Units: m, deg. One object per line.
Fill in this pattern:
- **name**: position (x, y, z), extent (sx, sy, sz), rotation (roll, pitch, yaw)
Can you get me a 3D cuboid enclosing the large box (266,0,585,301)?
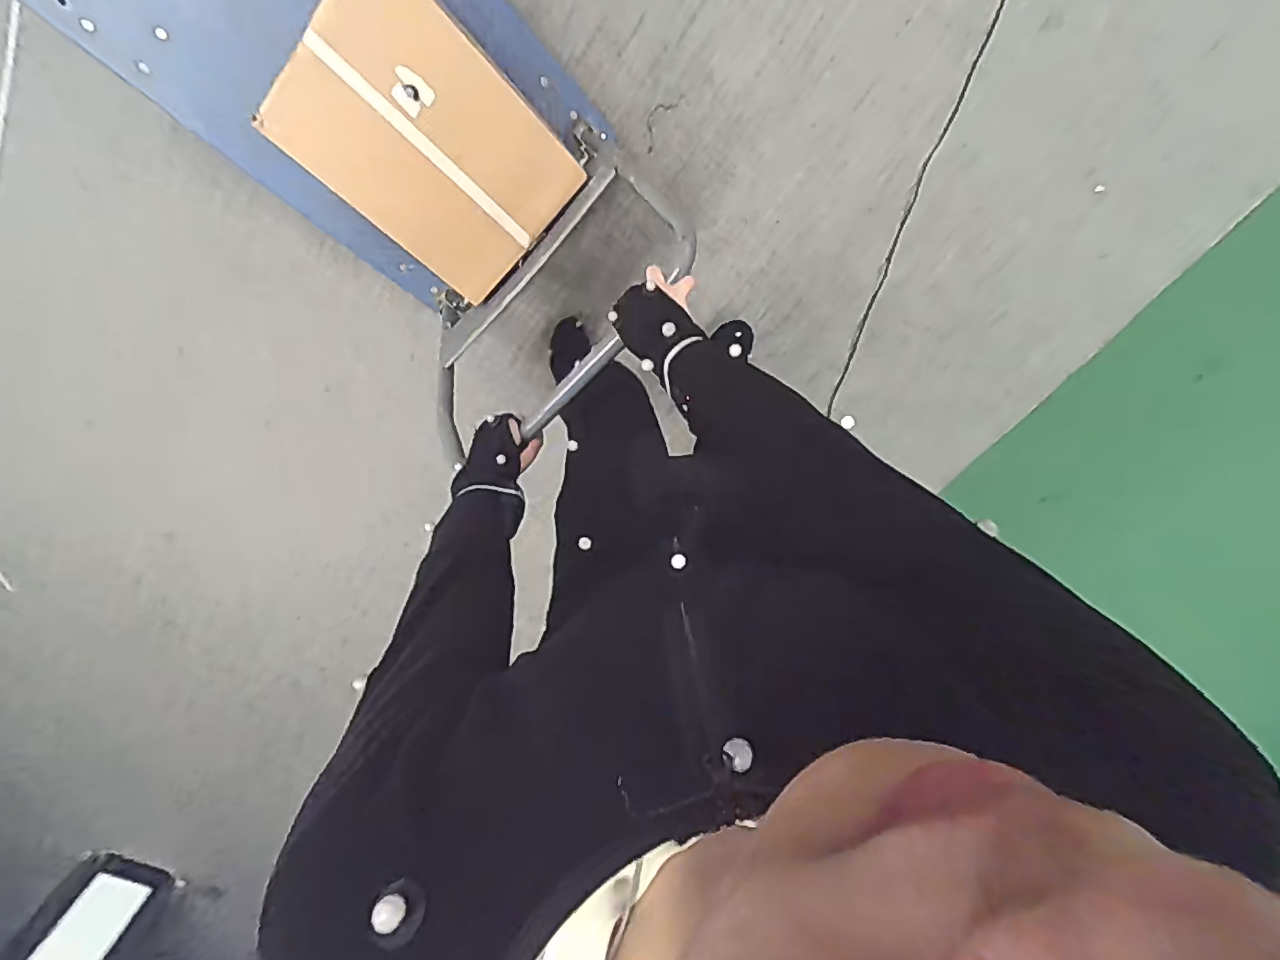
- **large box**: position (-0.359, -0.621, 1.003), extent (0.320, 0.320, 0.408), rotation (-42, 125, 18)
